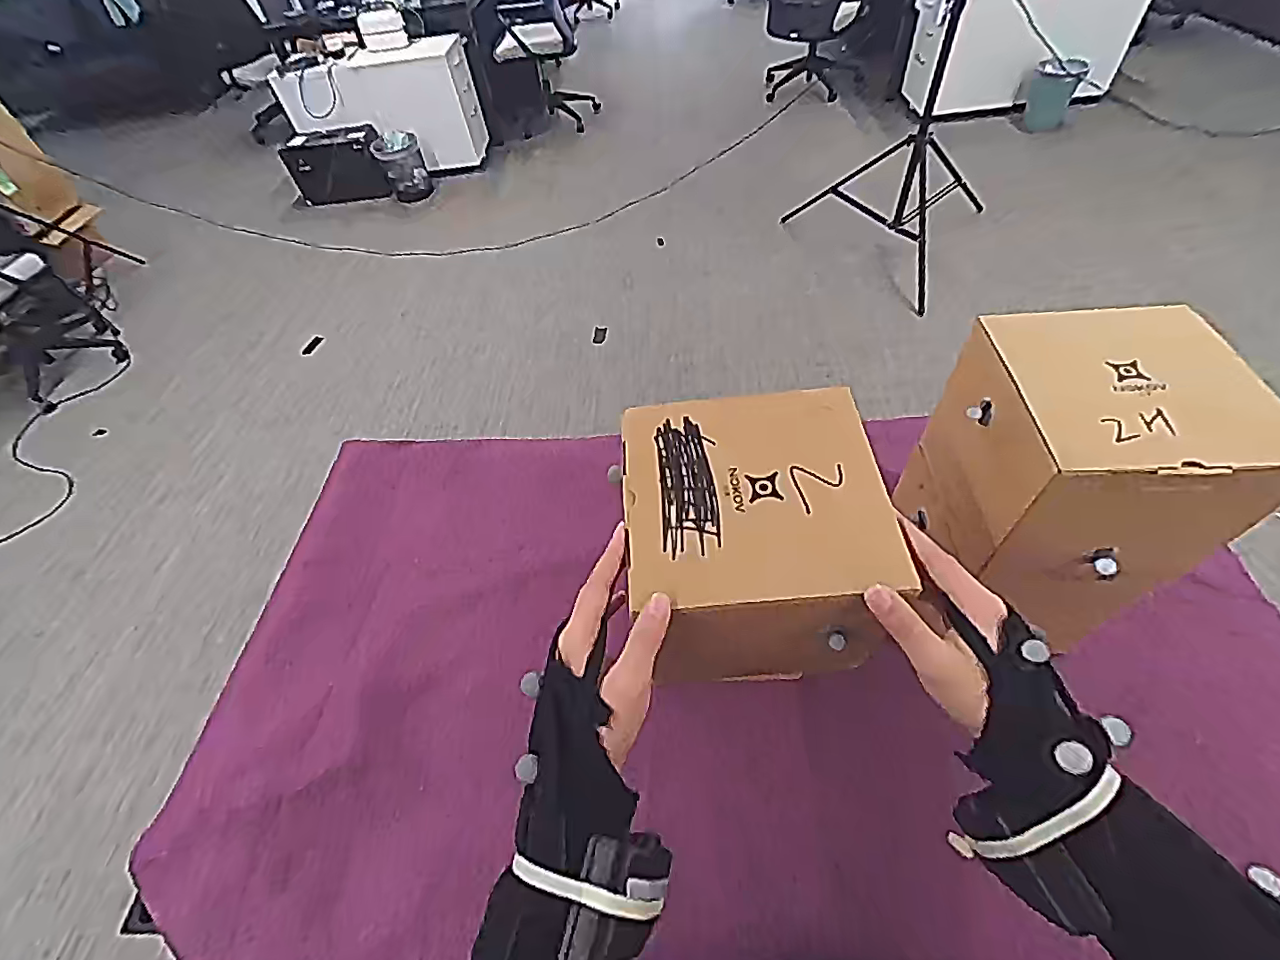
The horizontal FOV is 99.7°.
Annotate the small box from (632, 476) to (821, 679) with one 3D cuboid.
[{"bbox_3d":[0.088,0.114,0.606,0.179,0.176,0.168,-3,51,4],"label":"small box"}]

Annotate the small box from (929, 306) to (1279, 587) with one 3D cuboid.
[{"bbox_3d":[0.375,-0.026,0.466,0.168,0.176,0.179,-1,52,7],"label":"small box"}]

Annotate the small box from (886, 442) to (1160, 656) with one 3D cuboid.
[{"bbox_3d":[0.389,0.076,0.596,0.168,0.176,0.179,-1,52,7],"label":"small box"}]
